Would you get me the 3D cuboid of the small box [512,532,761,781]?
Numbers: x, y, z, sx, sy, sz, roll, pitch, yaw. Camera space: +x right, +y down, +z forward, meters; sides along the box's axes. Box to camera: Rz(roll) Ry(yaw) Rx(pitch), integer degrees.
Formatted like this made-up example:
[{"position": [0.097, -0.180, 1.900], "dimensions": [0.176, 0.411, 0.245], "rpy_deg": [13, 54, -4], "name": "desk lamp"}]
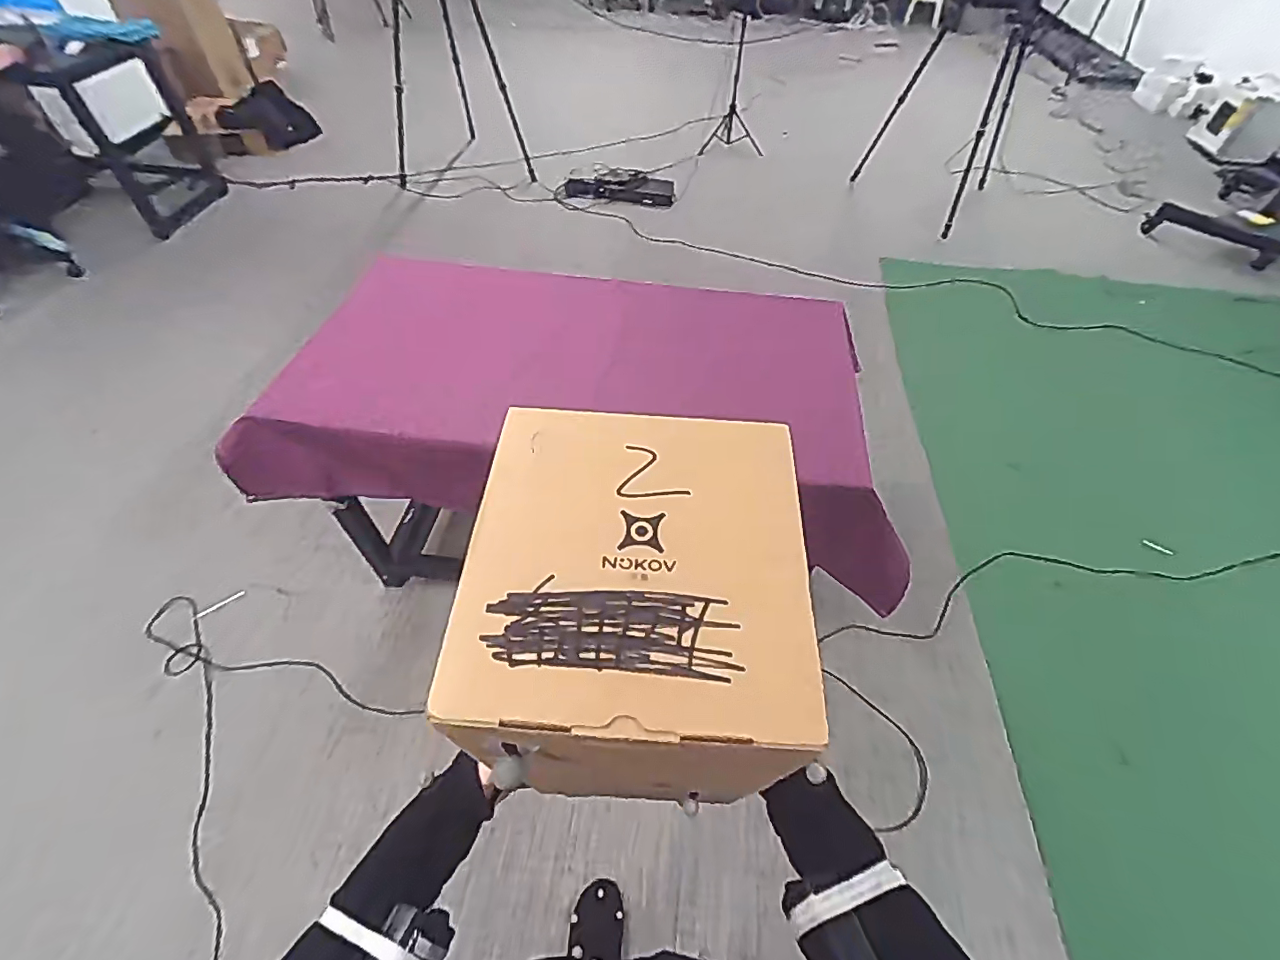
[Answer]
[{"position": [0.000, 0.164, 0.485], "dimensions": [0.179, 0.176, 0.168], "rpy_deg": [3, 54, 1], "name": "small box"}]
